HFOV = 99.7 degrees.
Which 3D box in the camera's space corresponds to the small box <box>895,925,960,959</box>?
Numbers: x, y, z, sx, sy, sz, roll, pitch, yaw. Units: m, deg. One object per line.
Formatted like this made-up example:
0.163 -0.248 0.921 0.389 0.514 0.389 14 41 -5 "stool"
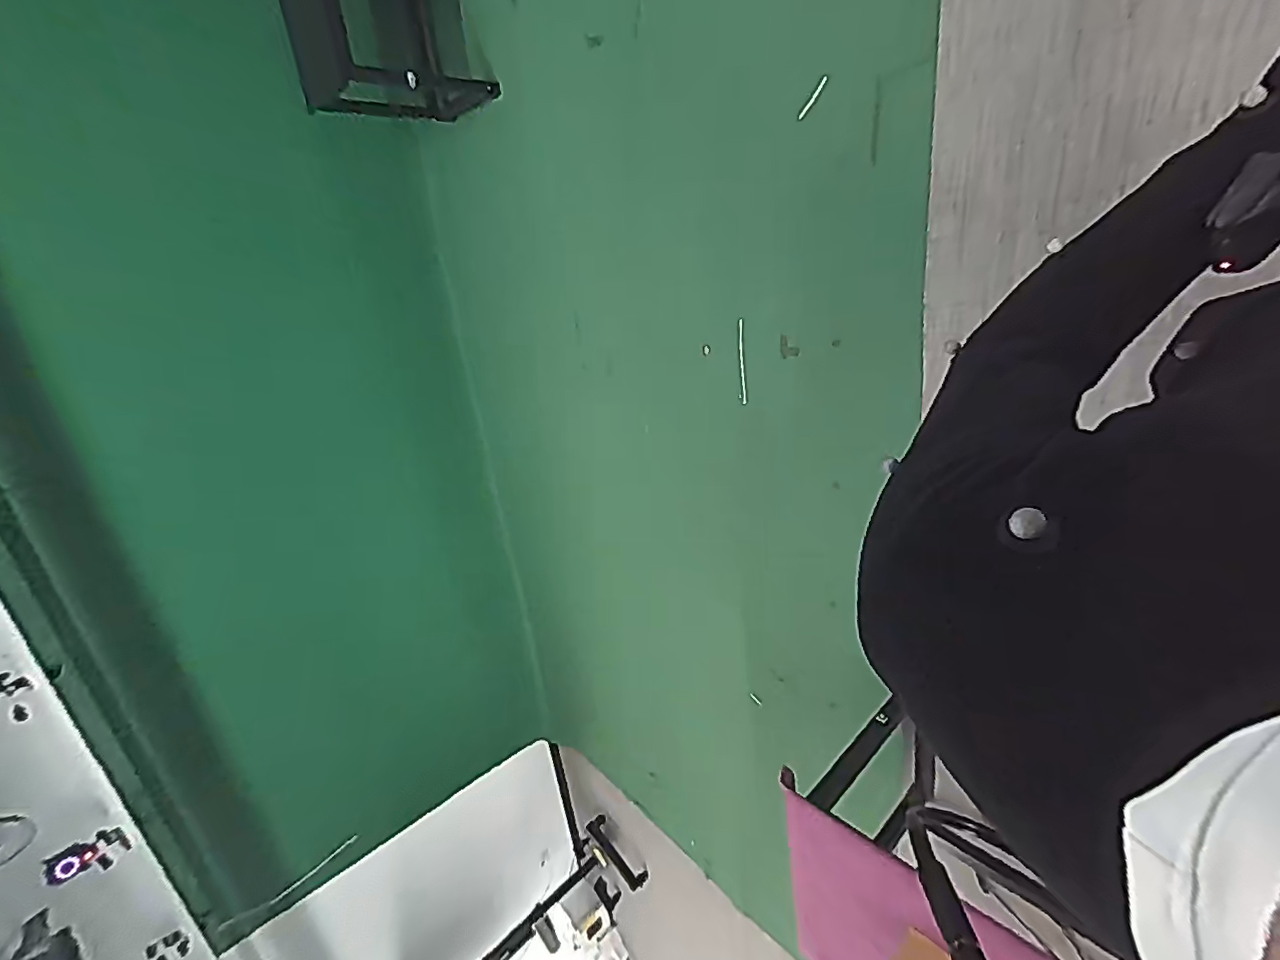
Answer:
0.650 1.152 1.189 0.179 0.176 0.168 16 120 47 "small box"
